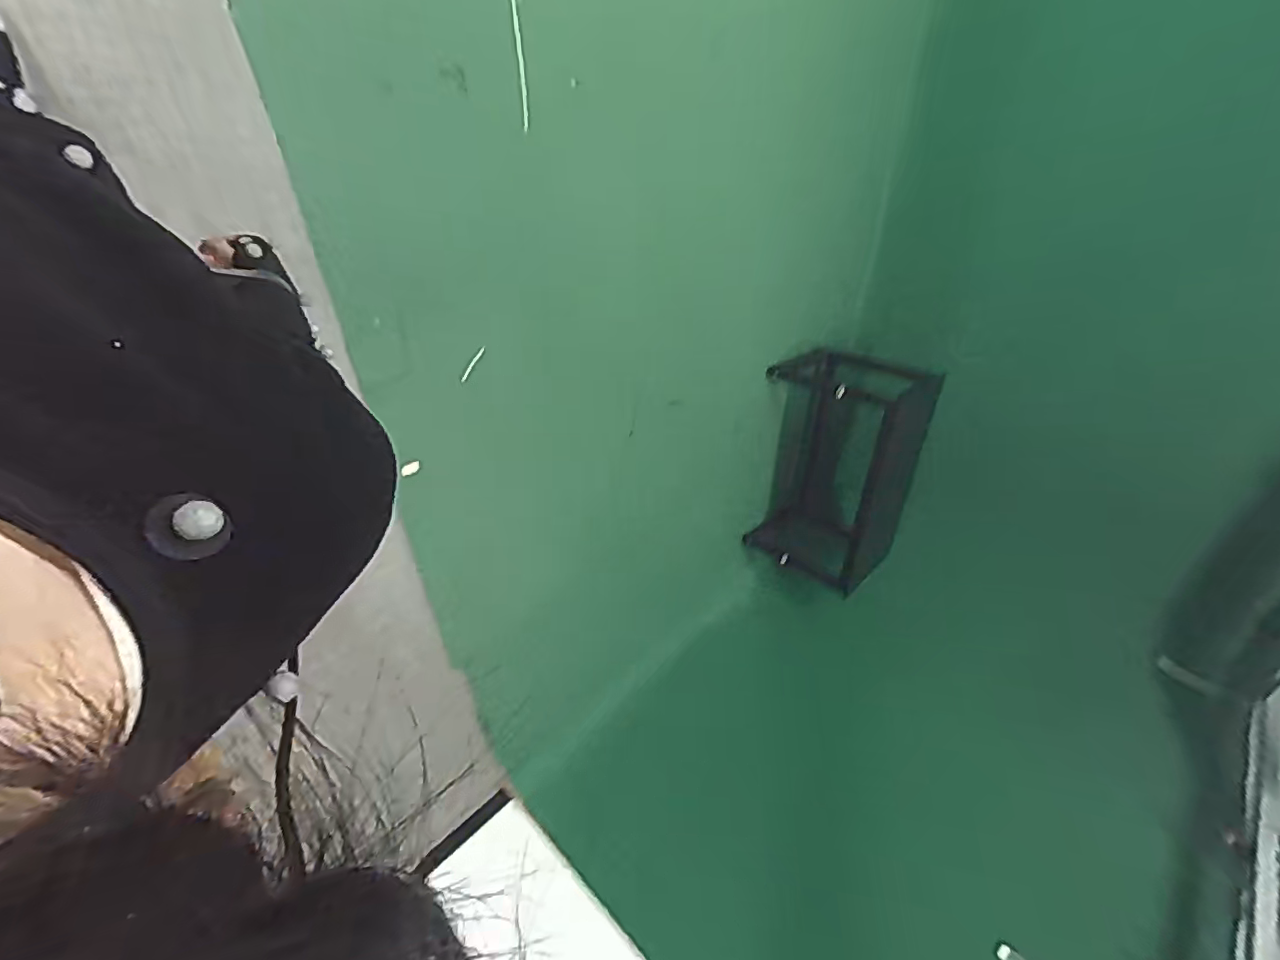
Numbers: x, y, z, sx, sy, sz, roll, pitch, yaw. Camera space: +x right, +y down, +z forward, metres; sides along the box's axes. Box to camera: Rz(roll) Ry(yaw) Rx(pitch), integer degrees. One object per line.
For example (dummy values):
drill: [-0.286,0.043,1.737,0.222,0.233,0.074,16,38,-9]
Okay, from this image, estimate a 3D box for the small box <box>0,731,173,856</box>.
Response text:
small box: [-0.950,0.573,0.923,0.168,0.176,0.179,-31,133,-35]
